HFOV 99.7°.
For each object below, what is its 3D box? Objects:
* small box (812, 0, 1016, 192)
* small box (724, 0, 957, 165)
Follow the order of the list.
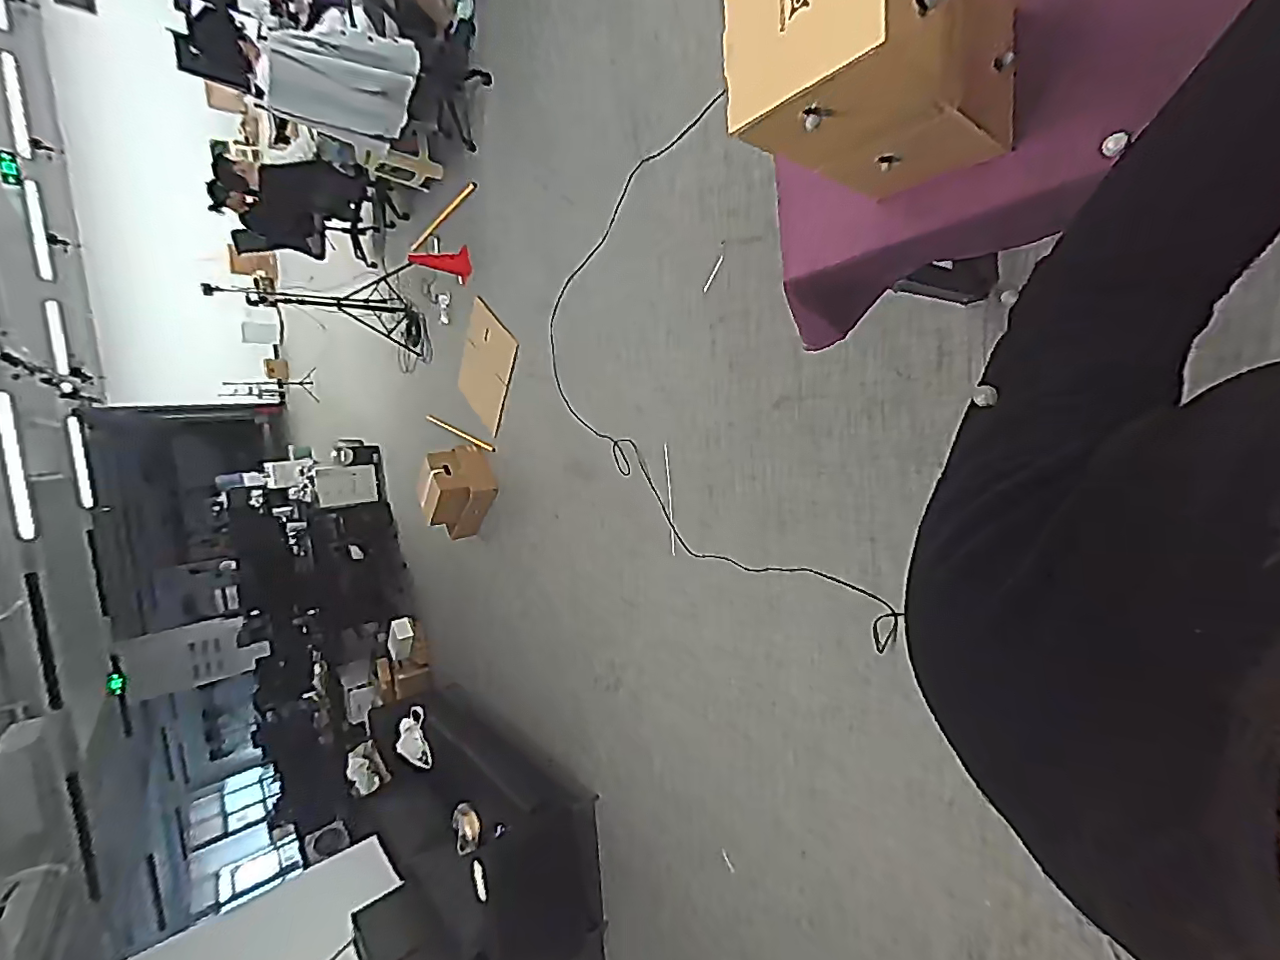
[{"bbox_3d":[0.332,-0.480,0.666,0.179,0.176,0.168,4,101,50],"label":"small box"},{"bbox_3d":[0.210,-0.460,0.560,0.179,0.176,0.168,3,100,52],"label":"small box"}]
